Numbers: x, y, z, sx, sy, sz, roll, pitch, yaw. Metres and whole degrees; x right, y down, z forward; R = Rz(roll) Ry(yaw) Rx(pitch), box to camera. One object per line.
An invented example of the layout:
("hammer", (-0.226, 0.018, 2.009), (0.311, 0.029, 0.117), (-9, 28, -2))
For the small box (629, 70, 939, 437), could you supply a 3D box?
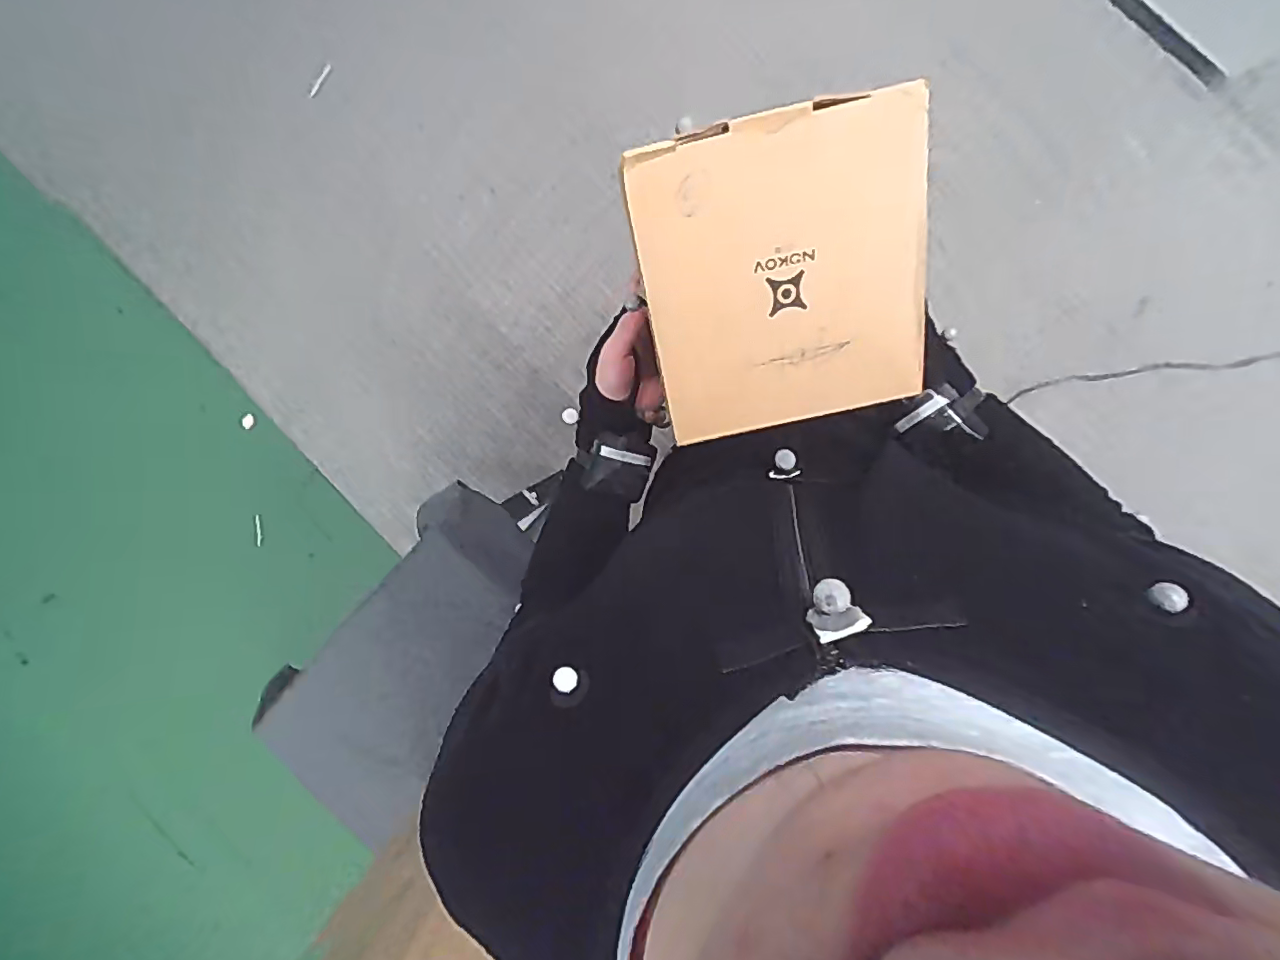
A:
("small box", (0.088, -0.155, 0.390), (0.168, 0.176, 0.179), (-12, 118, 4))
